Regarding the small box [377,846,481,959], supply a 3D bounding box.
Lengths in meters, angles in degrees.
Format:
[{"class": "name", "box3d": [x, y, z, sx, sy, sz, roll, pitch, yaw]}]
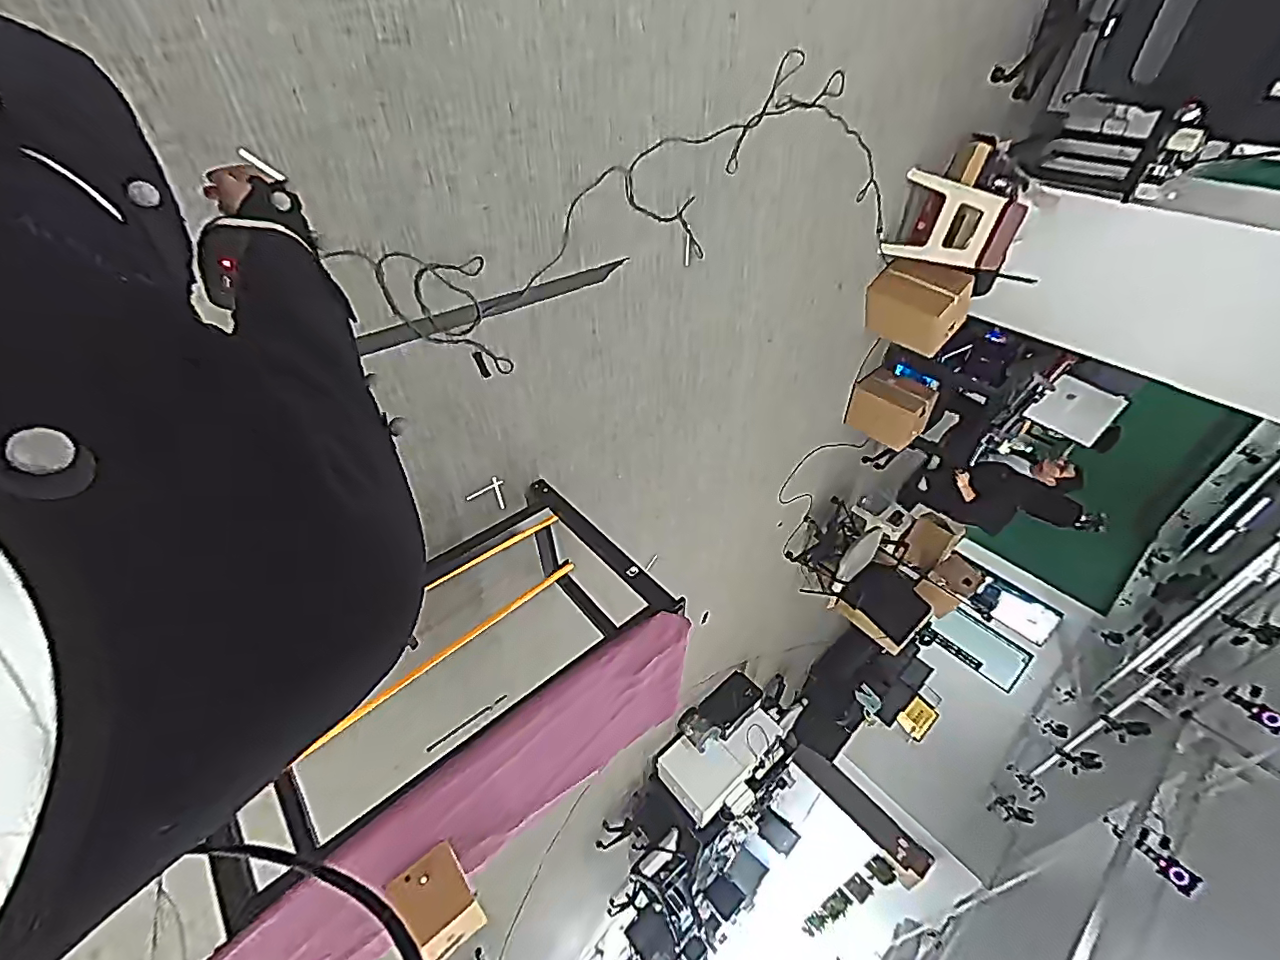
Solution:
[{"class": "small box", "box3d": [-0.507, 1.034, 1.306, 0.168, 0.176, 0.179, -28, 138, -32]}]
